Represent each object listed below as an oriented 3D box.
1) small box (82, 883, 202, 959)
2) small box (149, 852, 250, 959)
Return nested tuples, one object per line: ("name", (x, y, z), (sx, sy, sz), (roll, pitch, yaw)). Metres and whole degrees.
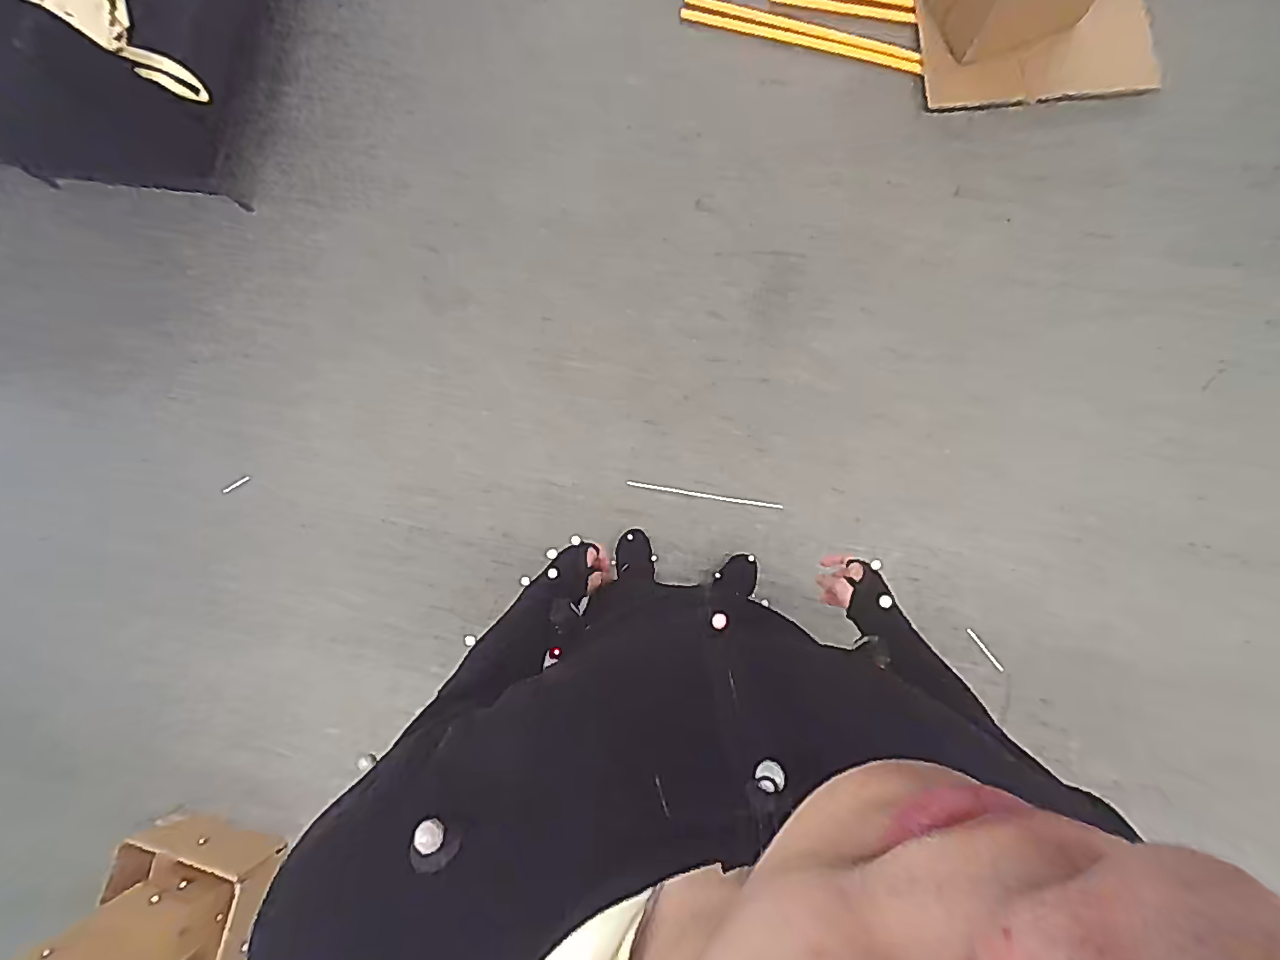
("small box", (-1.282, 1.174, 1.373), (0.179, 0.176, 0.168), (16, 85, 8))
("small box", (-1.268, 1.202, 1.534), (0.179, 0.176, 0.168), (14, 84, 7))
